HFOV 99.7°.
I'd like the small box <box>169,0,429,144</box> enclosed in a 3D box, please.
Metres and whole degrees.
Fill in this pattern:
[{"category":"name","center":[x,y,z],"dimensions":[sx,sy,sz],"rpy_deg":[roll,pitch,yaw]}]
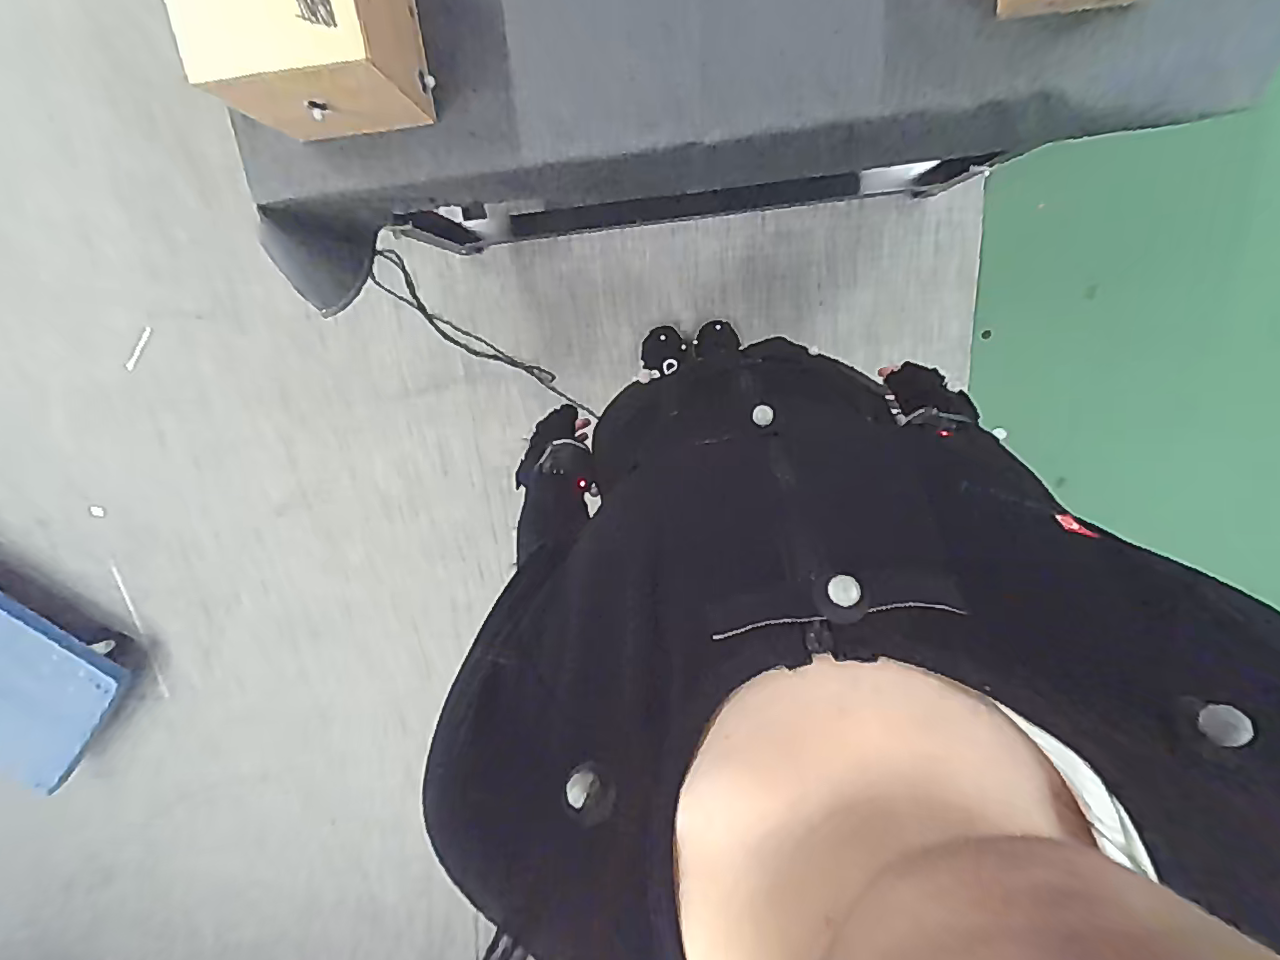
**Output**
[{"category":"small box","center":[-0.337,-0.471,0.557],"dimensions":[0.179,0.176,0.168],"rpy_deg":[-6,105,3]}]
